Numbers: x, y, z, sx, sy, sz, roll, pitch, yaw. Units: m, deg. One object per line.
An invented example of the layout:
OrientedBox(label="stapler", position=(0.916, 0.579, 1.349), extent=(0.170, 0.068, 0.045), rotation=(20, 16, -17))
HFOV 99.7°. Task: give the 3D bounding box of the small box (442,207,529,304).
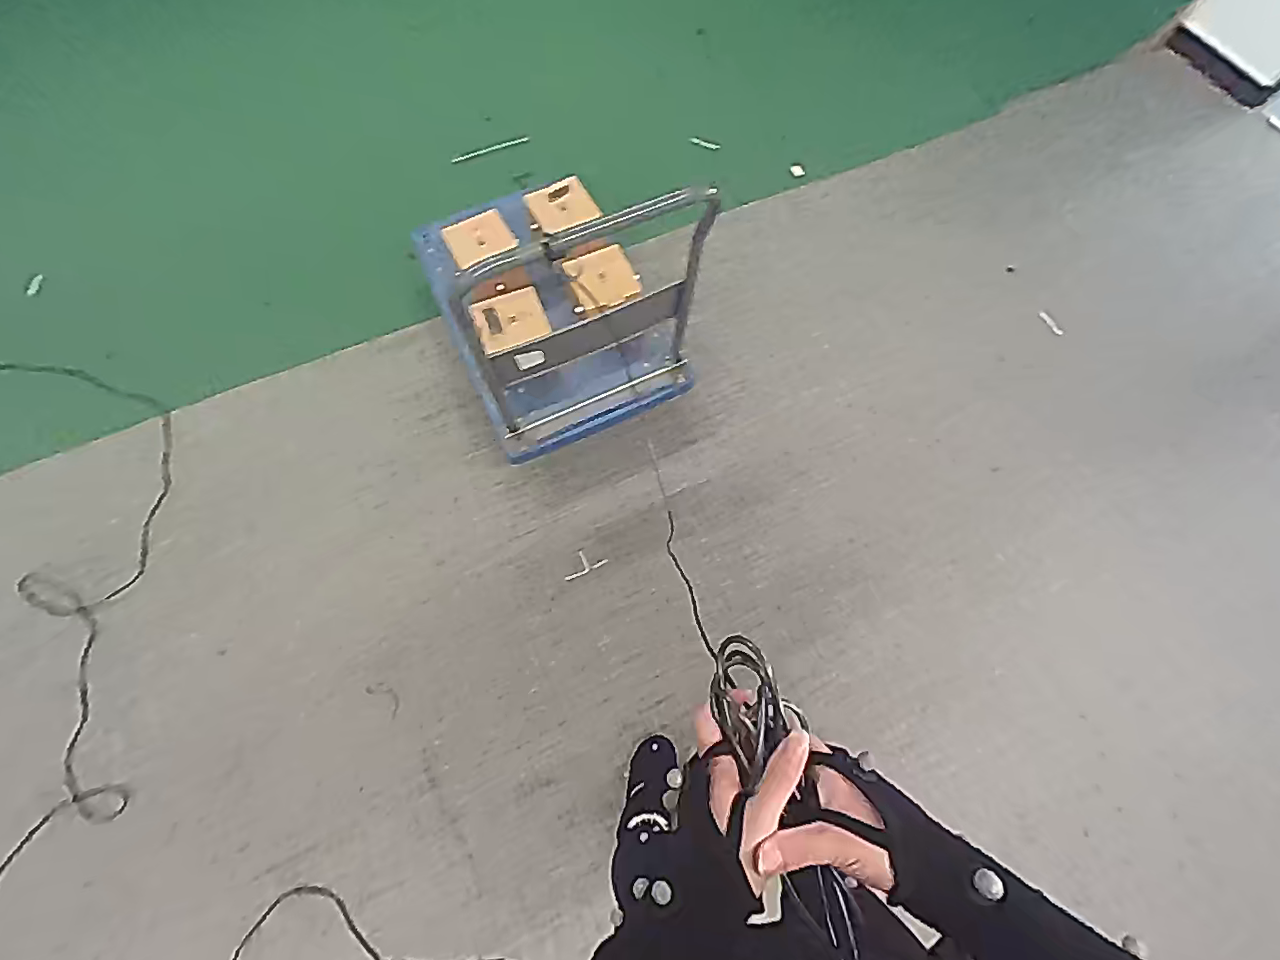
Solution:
OrientedBox(label="small box", position=(-0.437, -0.635, 1.555), extent=(0.168, 0.176, 0.179), rotation=(-28, 73, -11))

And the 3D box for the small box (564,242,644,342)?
OrientedBox(label="small box", position=(-0.101, -0.523, 1.521), extent=(0.168, 0.176, 0.179), rotation=(-23, 73, -9))

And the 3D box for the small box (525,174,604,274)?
OrientedBox(label="small box", position=(-0.219, -0.753, 1.600), extent=(0.168, 0.176, 0.179), rotation=(-28, 74, -9))
